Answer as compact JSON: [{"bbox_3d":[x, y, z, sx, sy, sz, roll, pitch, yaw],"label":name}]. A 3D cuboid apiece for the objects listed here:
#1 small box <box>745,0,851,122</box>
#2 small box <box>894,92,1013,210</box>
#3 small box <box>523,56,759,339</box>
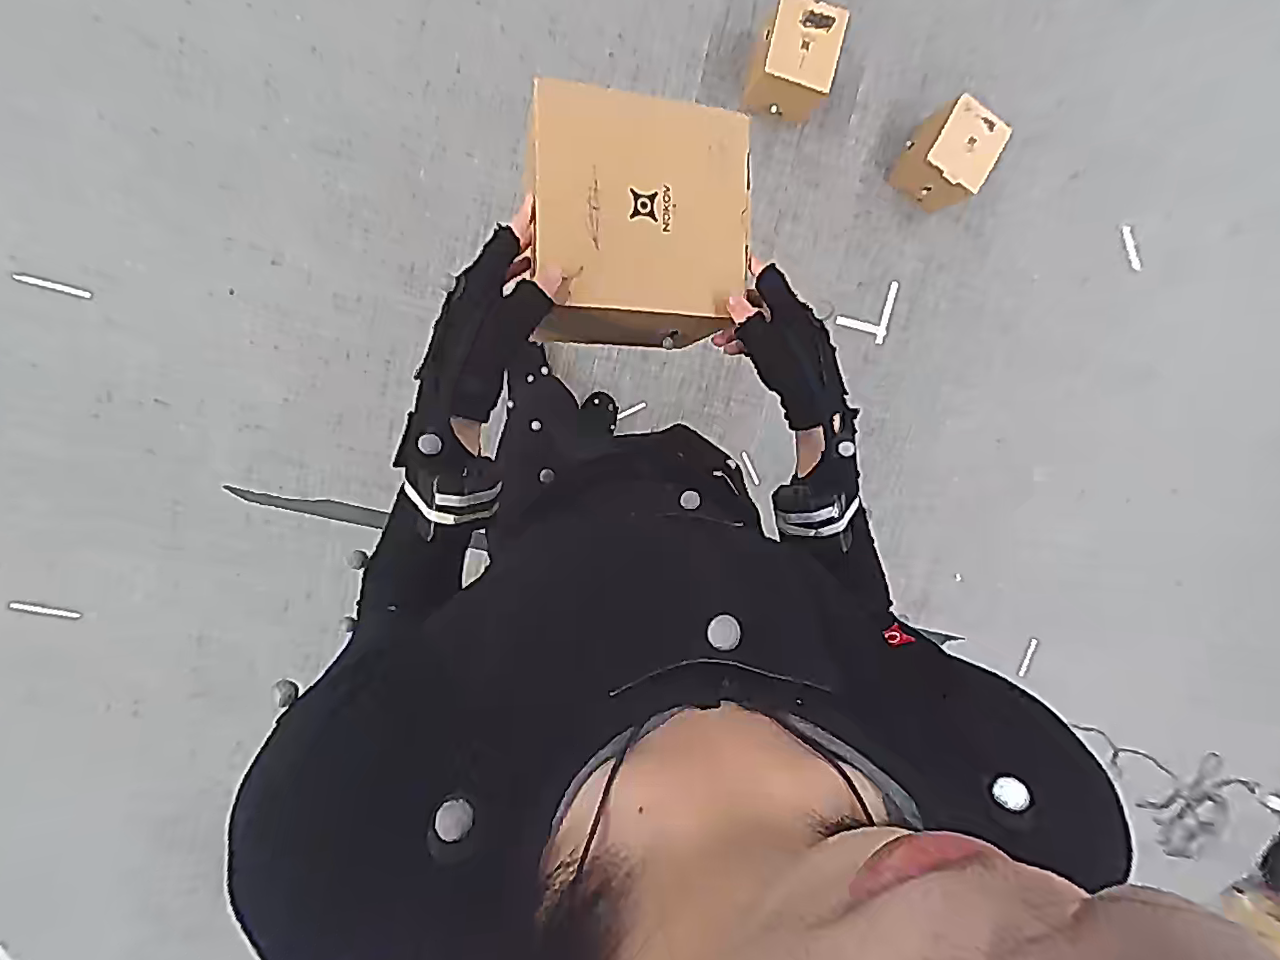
[{"bbox_3d":[0.368,-1.005,1.293,0.168,0.176,0.179,11,100,-10],"label":"small box"},{"bbox_3d":[0.793,-0.832,1.392,0.168,0.176,0.179,27,97,-13],"label":"small box"},{"bbox_3d":[-0.011,-0.227,0.487,0.179,0.176,0.168,-2,94,-15],"label":"small box"}]
